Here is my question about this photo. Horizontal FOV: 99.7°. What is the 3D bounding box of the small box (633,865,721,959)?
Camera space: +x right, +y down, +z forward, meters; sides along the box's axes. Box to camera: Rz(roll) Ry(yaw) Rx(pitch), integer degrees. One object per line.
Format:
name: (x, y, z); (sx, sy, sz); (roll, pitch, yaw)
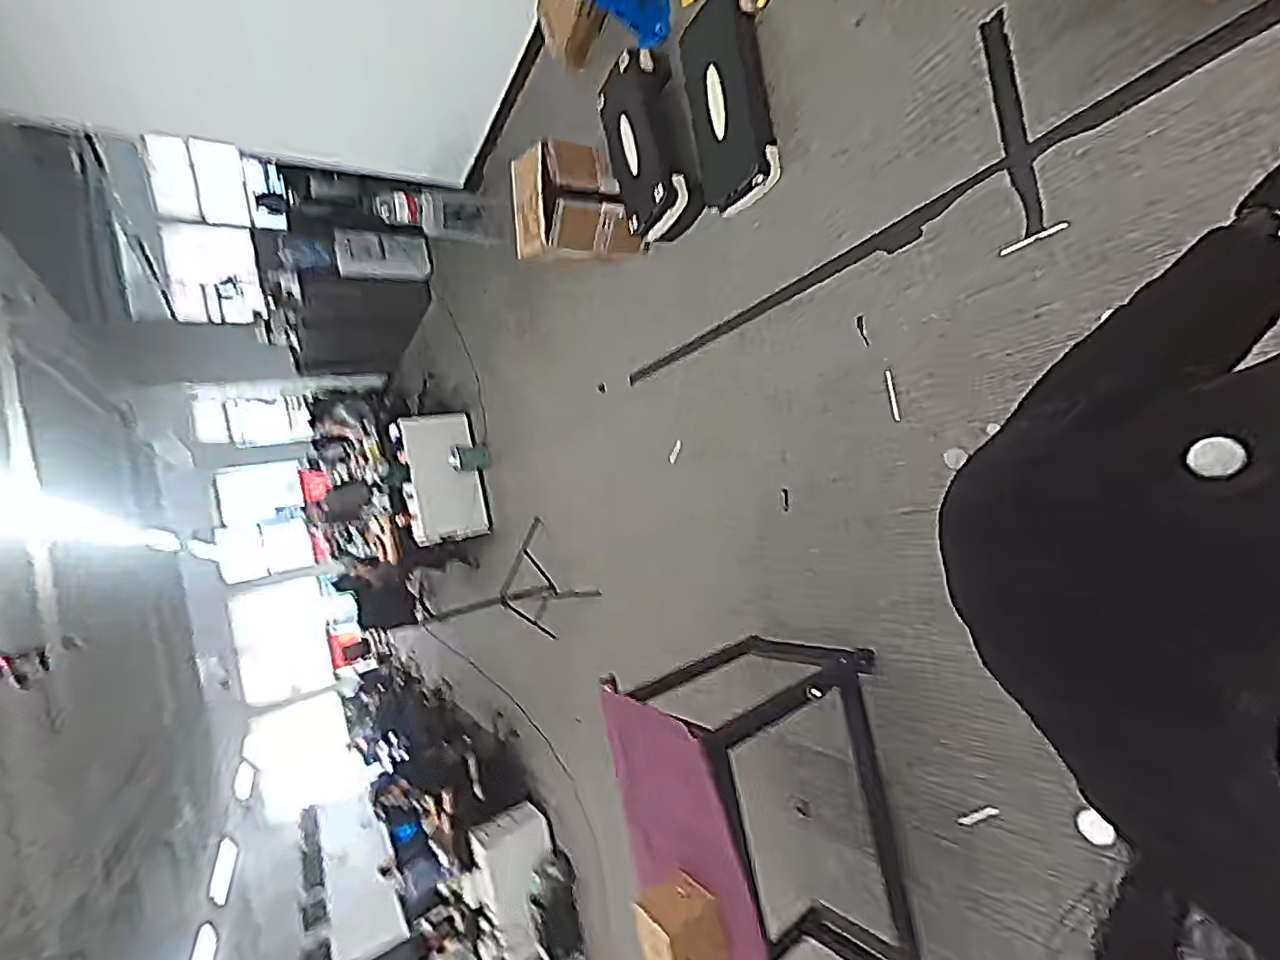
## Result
small box: (0.106, 1.232, 1.503); (0.168, 0.176, 0.179); (-9, 91, 56)
